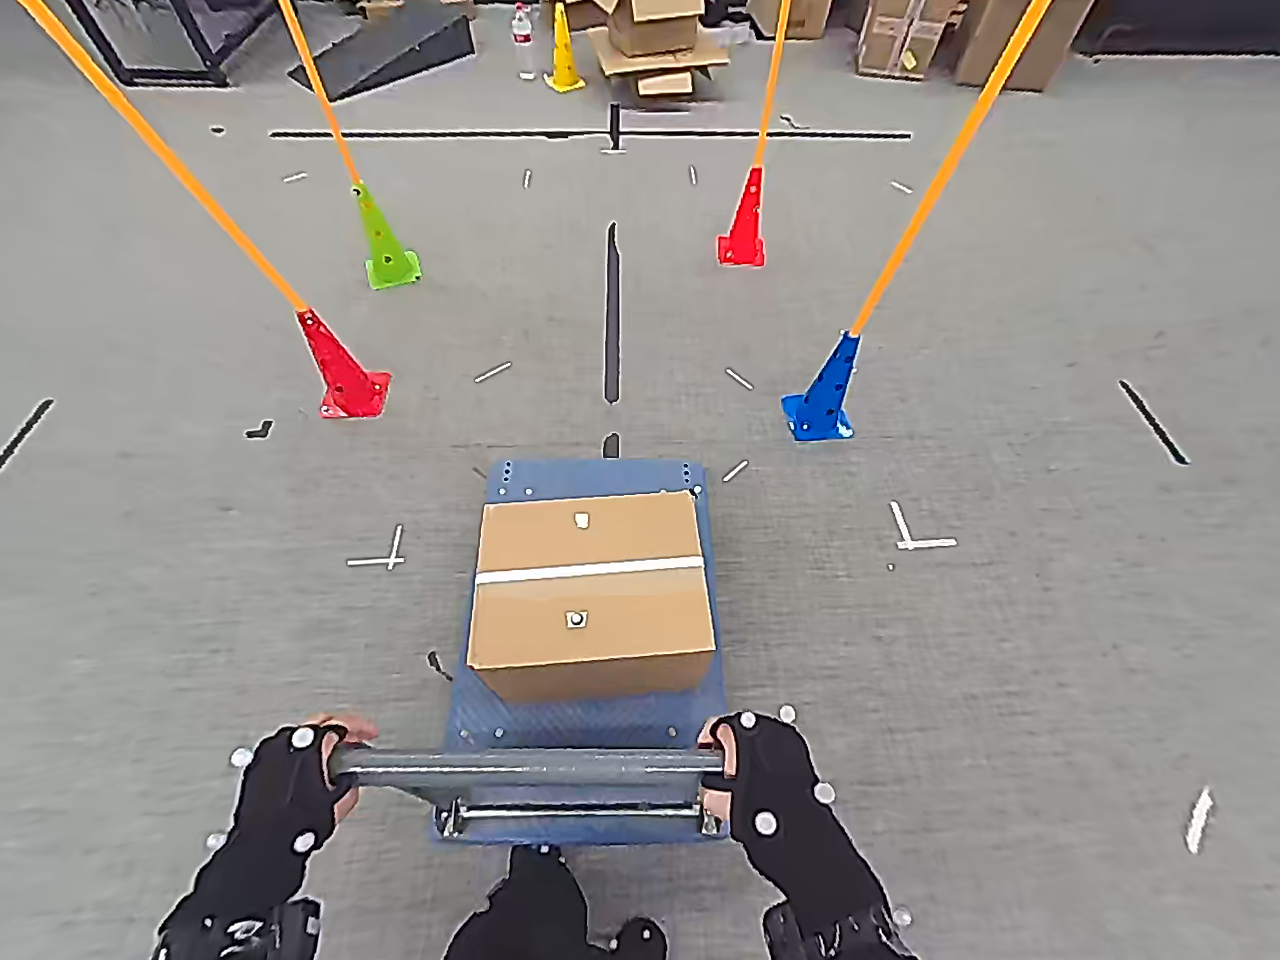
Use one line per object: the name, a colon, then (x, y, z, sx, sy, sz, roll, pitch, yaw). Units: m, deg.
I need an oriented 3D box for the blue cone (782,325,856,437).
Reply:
blue cone: (0.591, -0.312, 1.674, 0.193, 0.380, 0.192, -4, 56, -5)

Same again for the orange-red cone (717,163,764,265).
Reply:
orange-red cone: (0.434, -1.072, 2.151, 0.199, 0.360, 0.198, 5, 57, 1)
